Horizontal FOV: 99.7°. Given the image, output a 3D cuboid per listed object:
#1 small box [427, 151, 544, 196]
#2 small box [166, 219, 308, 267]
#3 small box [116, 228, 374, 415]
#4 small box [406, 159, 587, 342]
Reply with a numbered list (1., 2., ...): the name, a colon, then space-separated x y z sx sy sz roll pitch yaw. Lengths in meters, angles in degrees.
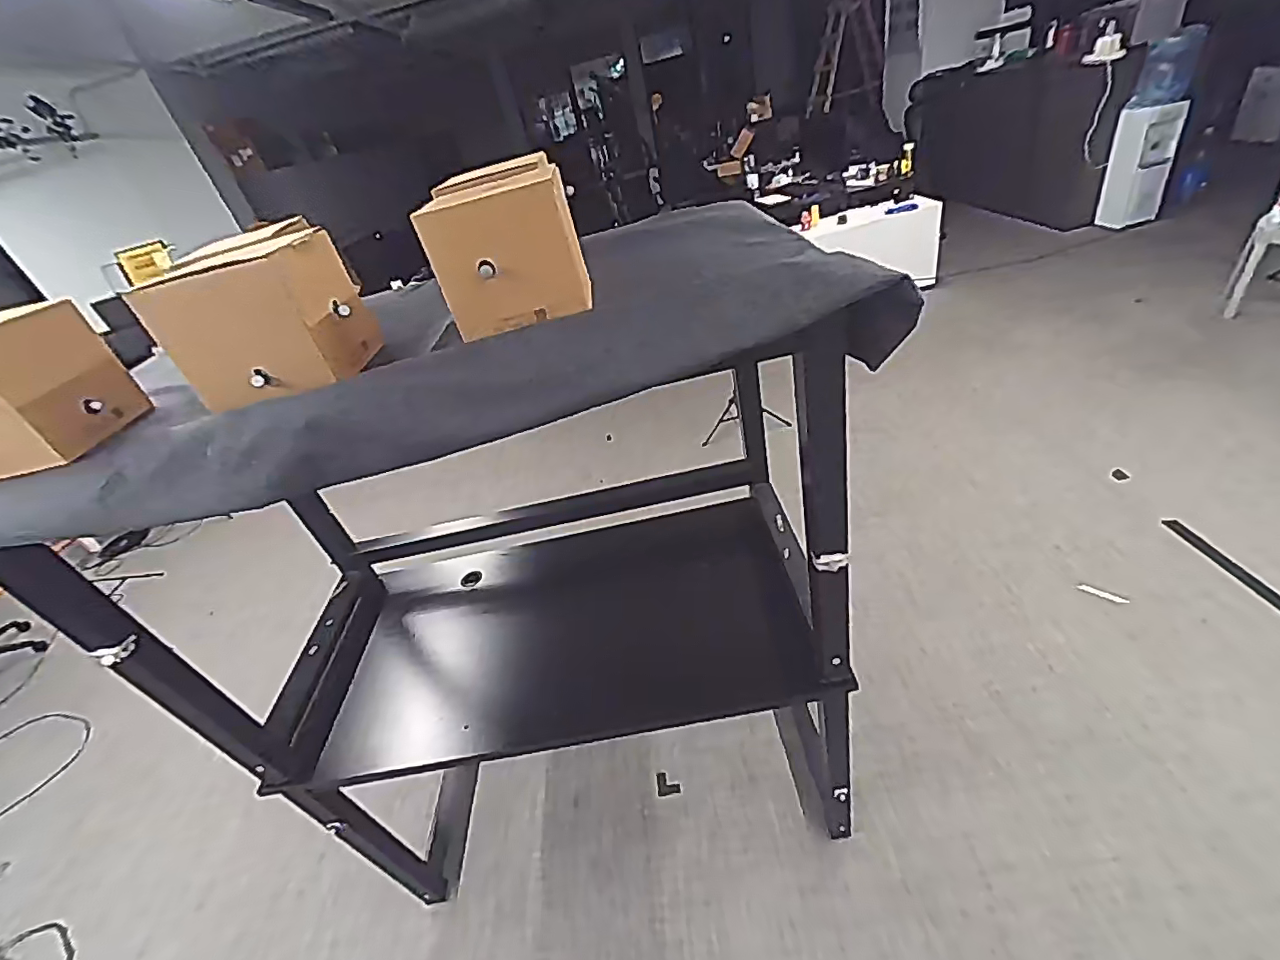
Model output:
1. small box: -0.233 -0.448 0.937 0.179 0.176 0.168 -13 36 4
2. small box: -0.652 -0.337 0.949 0.168 0.176 0.179 -18 35 -1
3. small box: -0.481 -0.204 0.697 0.179 0.176 0.168 -13 34 3
4. small box: -0.169 -0.294 0.701 0.168 0.176 0.179 -14 34 2
